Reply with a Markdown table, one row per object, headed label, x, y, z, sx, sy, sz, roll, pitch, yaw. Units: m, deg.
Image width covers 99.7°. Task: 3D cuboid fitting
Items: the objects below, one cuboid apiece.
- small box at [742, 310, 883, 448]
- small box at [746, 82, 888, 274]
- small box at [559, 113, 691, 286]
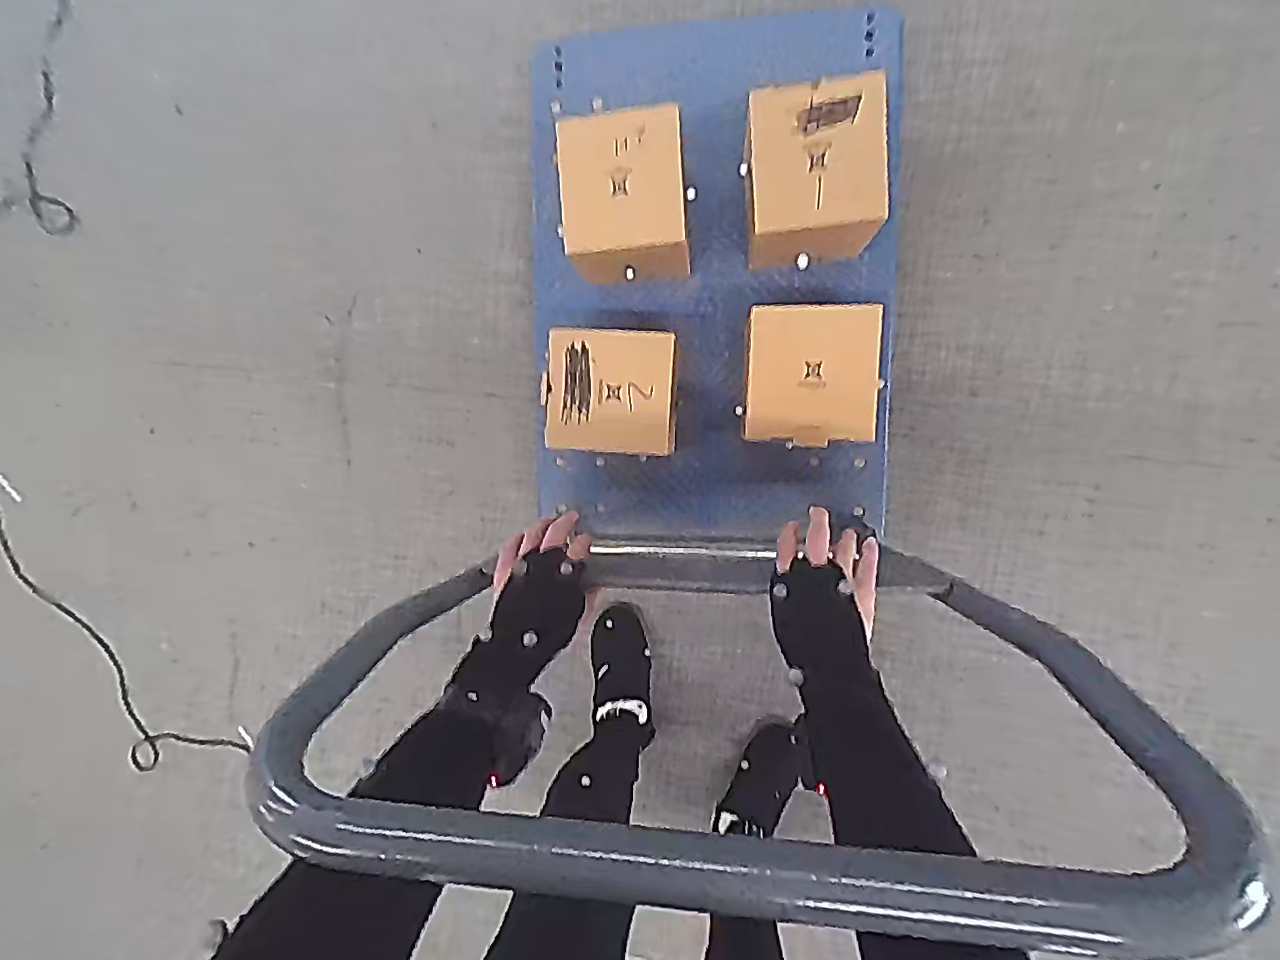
| label | x | y | z | sx | sy | sz | roll | pitch | yaw |
| --- | --- | --- | --- | --- | --- | --- | --- | --- | --- |
| small box | 0.237 | -0.138 | 0.783 | 0.168 | 0.176 | 0.179 | 2 | 95 | 8 |
| small box | 0.238 | -0.407 | 0.760 | 0.168 | 0.176 | 0.179 | -3 | 95 | 9 |
| small box | -0.013 | -0.394 | 0.797 | 0.168 | 0.176 | 0.179 | -2 | 94 | 7 |
